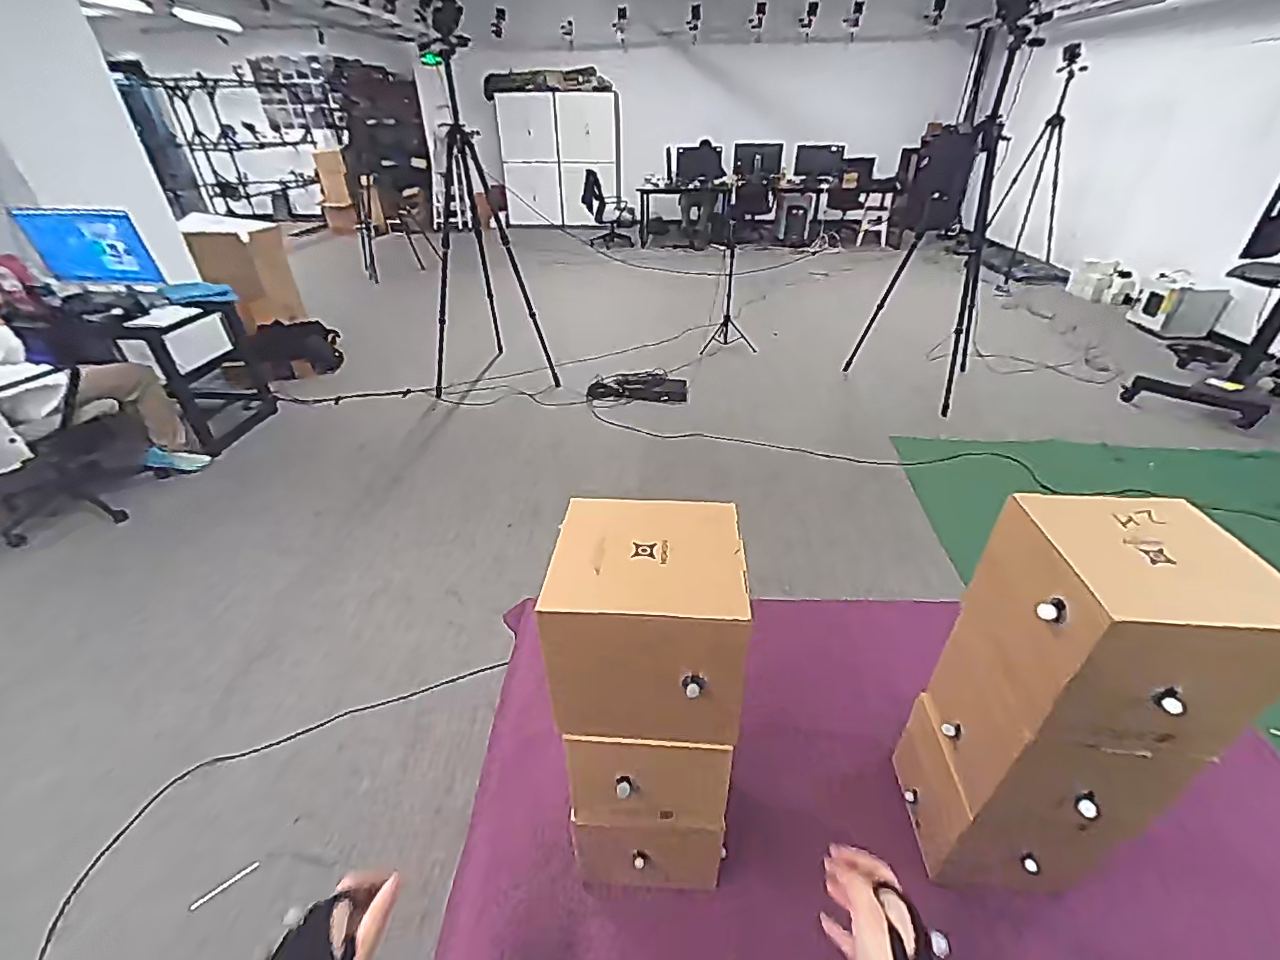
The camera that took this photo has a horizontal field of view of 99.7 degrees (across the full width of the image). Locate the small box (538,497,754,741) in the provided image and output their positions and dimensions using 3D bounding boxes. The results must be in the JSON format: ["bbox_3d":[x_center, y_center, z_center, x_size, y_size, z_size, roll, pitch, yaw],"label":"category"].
[{"bbox_3d":[0.011,0.135,0.539,0.179,0.176,0.168,2,32,5],"label":"small box"}]

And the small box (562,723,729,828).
[{"bbox_3d":[0.013,0.272,0.628,0.168,0.176,0.179,2,33,4],"label":"small box"}]

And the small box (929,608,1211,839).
[{"bbox_3d":[0.457,0.274,0.616,0.168,0.176,0.179,4,35,7],"label":"small box"}]

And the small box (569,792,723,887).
[{"bbox_3d":[0.011,0.409,0.716,0.179,0.176,0.168,1,34,3],"label":"small box"}]

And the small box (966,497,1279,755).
[{"bbox_3d":[0.453,0.137,0.523,0.168,0.176,0.179,3,33,6],"label":"small box"}]
